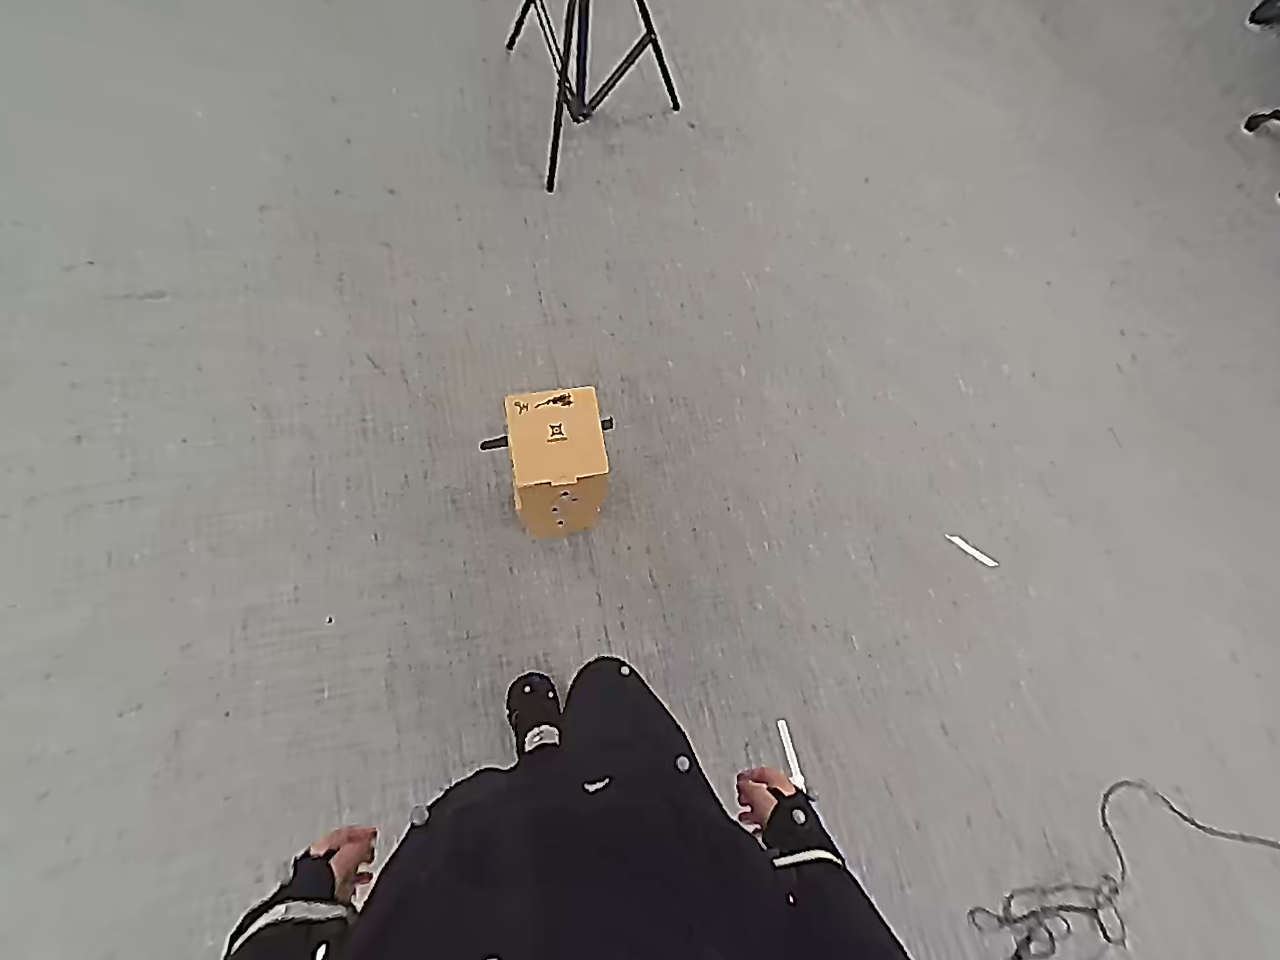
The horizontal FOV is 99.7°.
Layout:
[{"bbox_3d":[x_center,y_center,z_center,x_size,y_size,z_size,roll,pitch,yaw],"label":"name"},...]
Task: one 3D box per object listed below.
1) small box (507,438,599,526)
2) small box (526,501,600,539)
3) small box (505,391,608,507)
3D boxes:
[{"bbox_3d":[-0.188,0.000,1.189,0.179,0.176,0.168,-7,76,-10],"label":"small box"},{"bbox_3d":[-0.205,0.042,1.347,0.179,0.176,0.168,-10,76,-11],"label":"small box"},{"bbox_3d":[-0.158,-0.050,1.036,0.168,0.176,0.179,-8,76,-11],"label":"small box"}]
